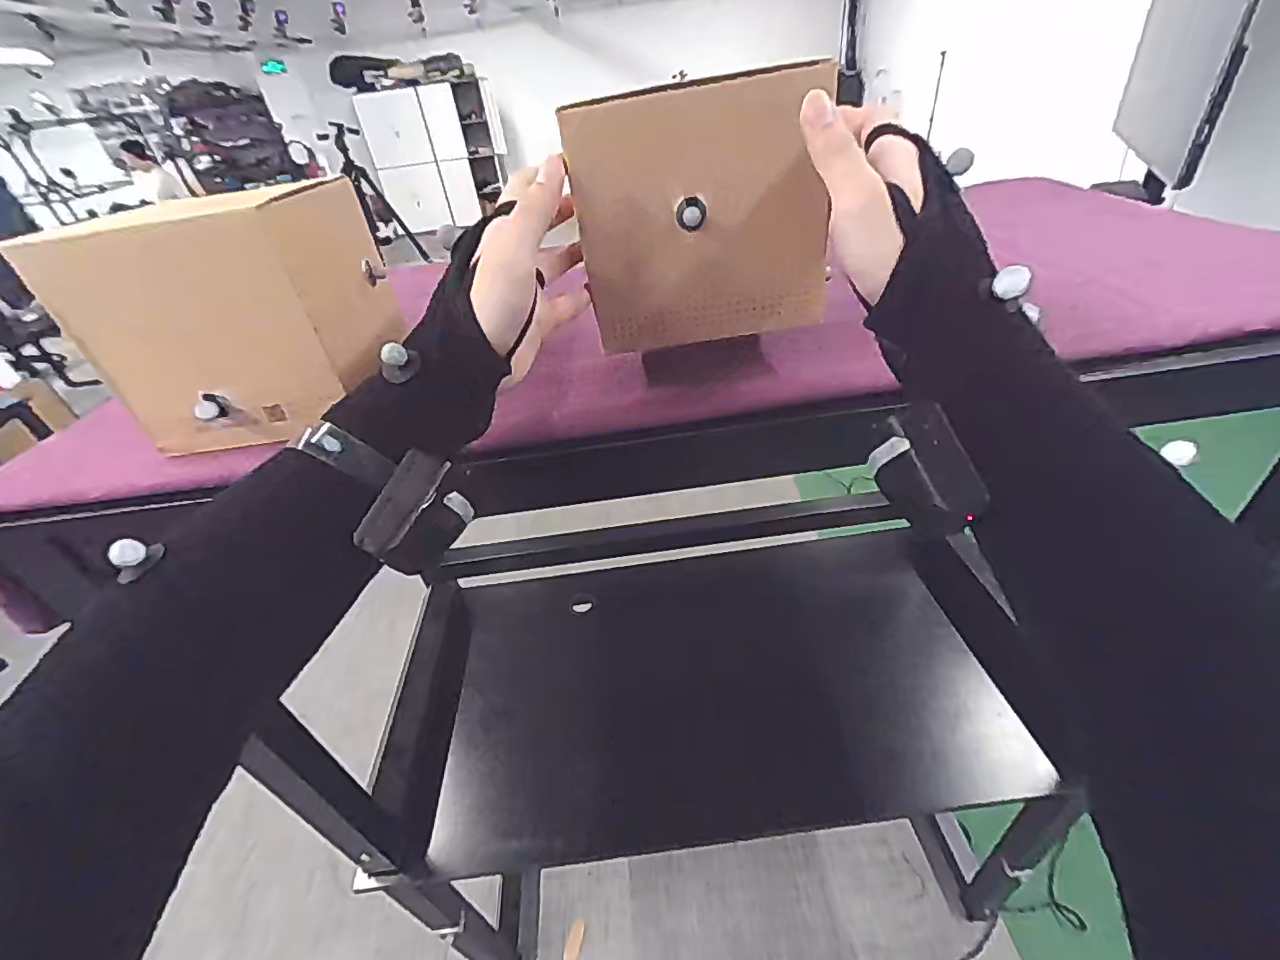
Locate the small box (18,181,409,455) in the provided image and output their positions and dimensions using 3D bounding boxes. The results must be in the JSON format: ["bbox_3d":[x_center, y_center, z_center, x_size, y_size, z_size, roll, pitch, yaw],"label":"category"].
[{"bbox_3d":[-0.319,-0.142,0.461,0.168,0.176,0.179,-9,36,0],"label":"small box"}]

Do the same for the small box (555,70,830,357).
[{"bbox_3d":[0.043,-0.218,0.446,0.179,0.176,0.168,-8,35,5],"label":"small box"}]
